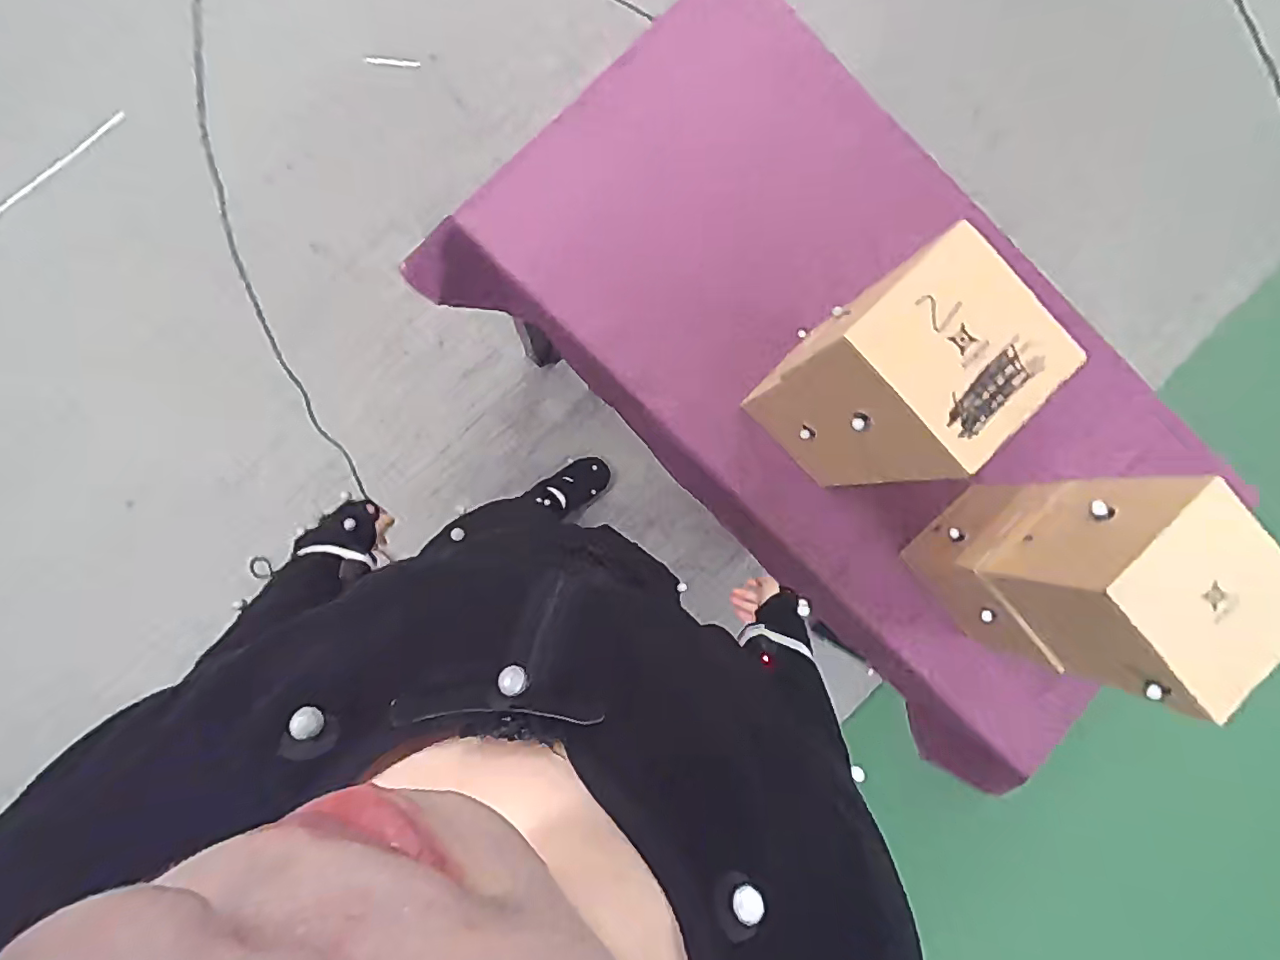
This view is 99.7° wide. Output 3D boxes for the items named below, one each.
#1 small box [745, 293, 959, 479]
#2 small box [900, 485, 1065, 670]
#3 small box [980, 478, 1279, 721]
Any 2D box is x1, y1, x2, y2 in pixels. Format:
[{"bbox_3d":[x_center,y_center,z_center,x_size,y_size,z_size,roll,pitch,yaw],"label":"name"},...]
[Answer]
[{"bbox_3d":[0.272,-0.112,0.737,0.179,0.176,0.168,45,85,-4],"label":"small box"},{"bbox_3d":[0.511,0.125,0.758,0.168,0.176,0.179,-39,93,-5],"label":"small box"},{"bbox_3d":[0.532,0.117,0.596,0.168,0.176,0.179,-42,93,-5],"label":"small box"}]
